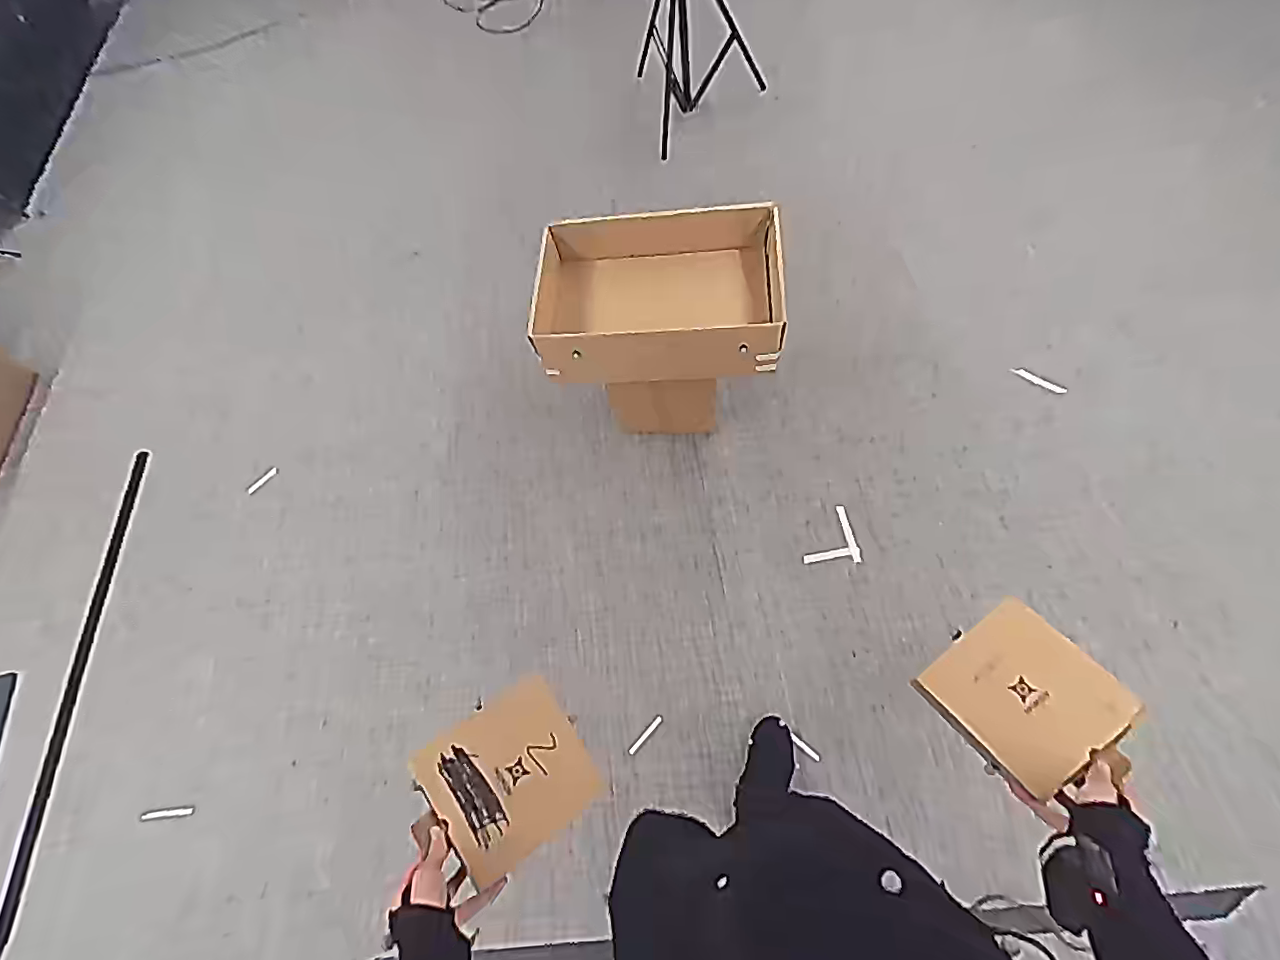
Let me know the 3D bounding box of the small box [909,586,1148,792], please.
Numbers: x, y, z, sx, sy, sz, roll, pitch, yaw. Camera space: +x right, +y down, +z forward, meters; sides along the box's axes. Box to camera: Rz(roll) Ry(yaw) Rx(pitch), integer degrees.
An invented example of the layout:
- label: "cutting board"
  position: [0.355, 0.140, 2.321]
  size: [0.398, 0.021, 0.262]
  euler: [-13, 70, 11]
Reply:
- label: "small box"
  position: [0.486, 0.268, 0.712]
  size: [0.168, 0.176, 0.179]
  euler: [-43, 59, 1]
